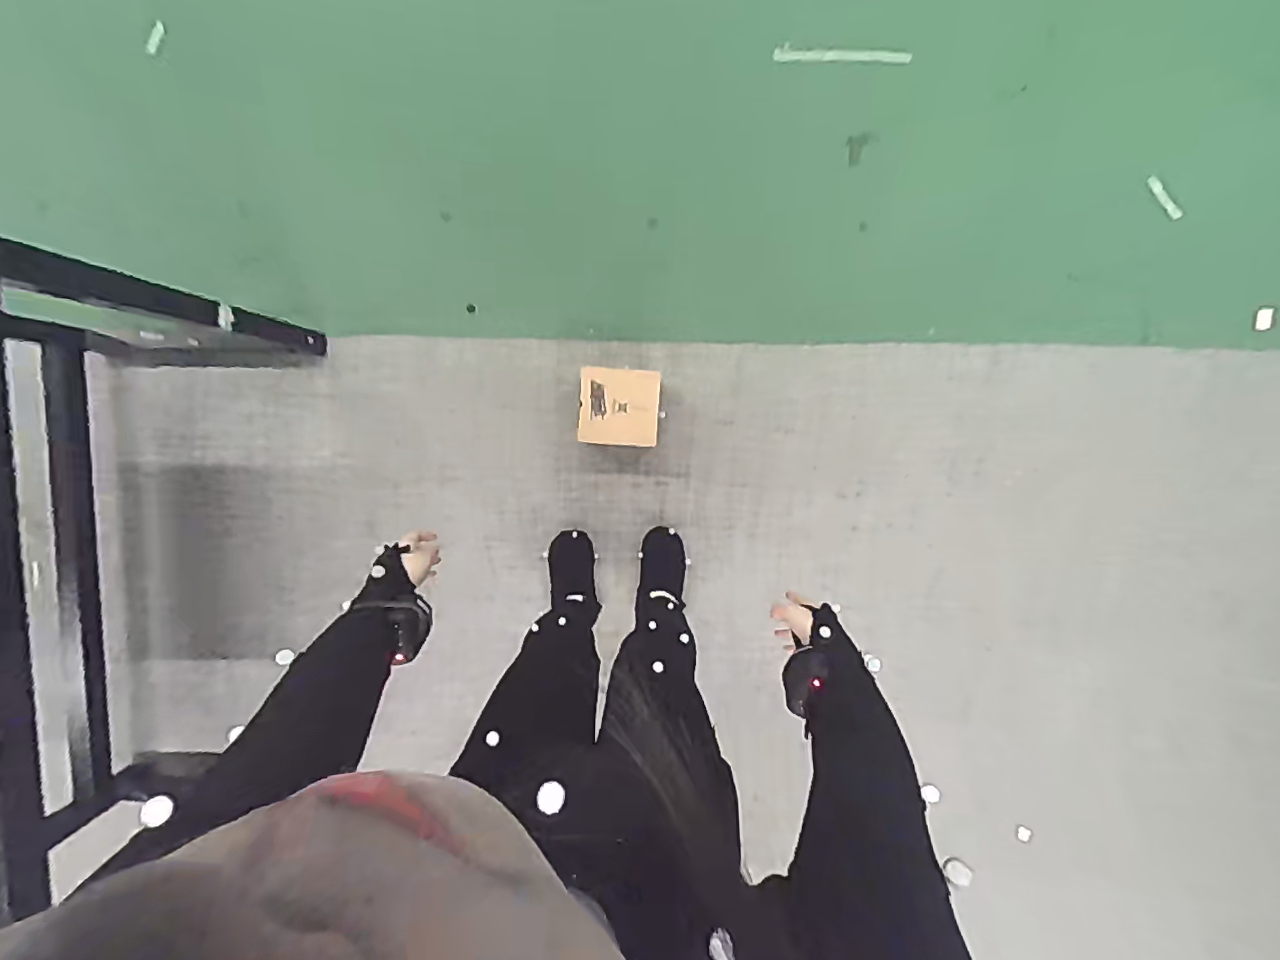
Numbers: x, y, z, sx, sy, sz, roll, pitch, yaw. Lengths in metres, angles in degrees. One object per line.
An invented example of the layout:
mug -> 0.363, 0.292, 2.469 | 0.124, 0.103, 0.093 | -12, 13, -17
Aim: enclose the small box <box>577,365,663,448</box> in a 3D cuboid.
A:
small box -> -0.042, -0.163, 1.237 | 0.179, 0.176, 0.168 | 4, 96, 0
